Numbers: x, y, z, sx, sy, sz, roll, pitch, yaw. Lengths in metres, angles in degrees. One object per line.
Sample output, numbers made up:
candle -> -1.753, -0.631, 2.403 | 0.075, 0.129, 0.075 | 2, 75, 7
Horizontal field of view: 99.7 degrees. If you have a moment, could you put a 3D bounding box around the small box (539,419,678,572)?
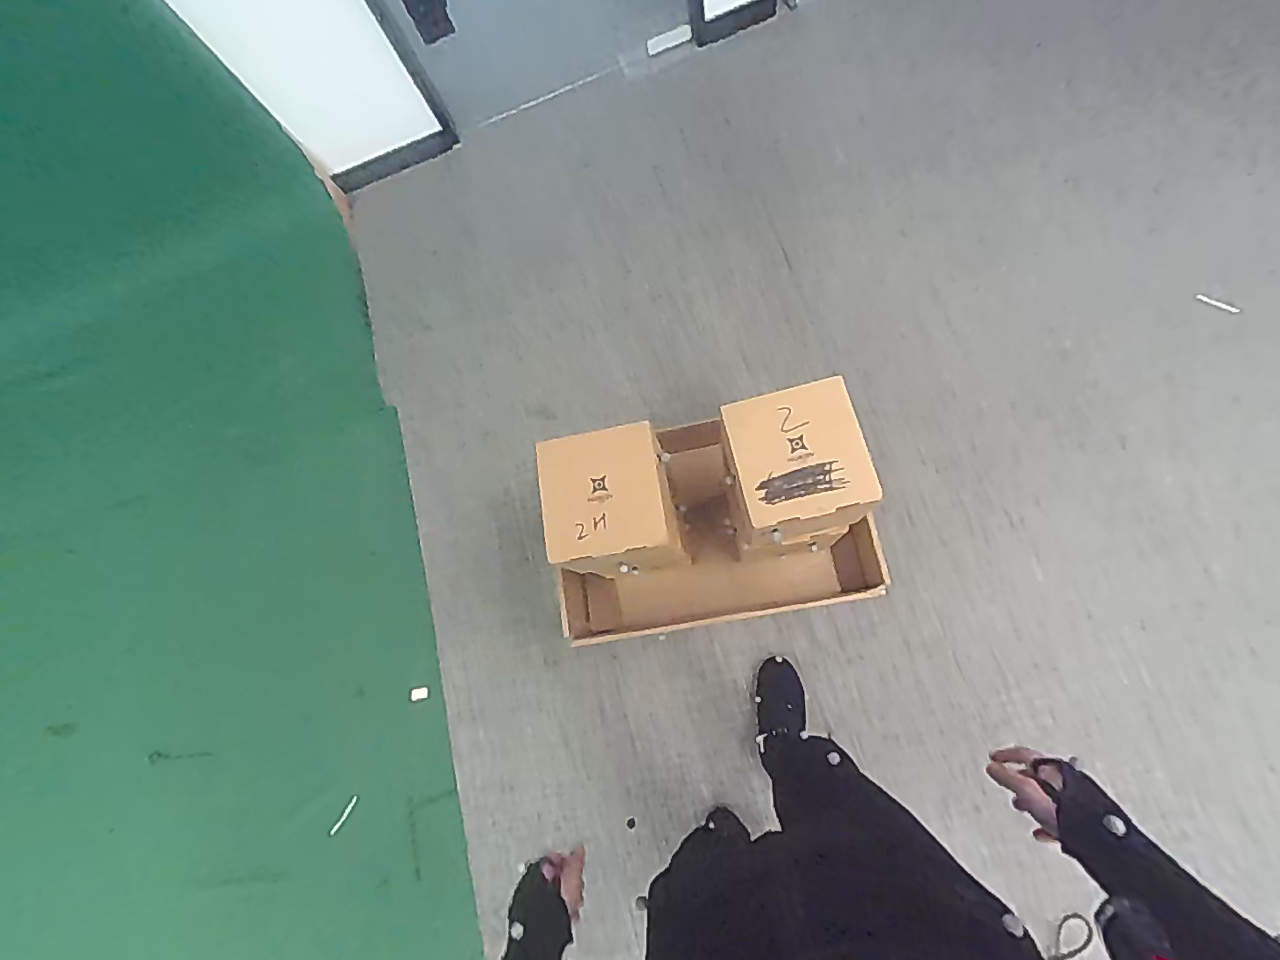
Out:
small box -> -0.040, 0.032, 0.798 | 0.168, 0.176, 0.179 | -10, 75, 7

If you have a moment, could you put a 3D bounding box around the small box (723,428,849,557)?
small box -> 0.239, 0.032, 0.916 | 0.168, 0.176, 0.179 | -10, 74, 7

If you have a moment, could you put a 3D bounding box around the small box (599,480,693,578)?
small box -> 0.007, 0.105, 1.114 | 0.179, 0.176, 0.168 | -10, 74, 7

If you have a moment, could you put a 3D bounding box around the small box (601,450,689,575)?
small box -> -0.010, 0.066, 0.956 | 0.168, 0.176, 0.179 | -10, 75, 7
